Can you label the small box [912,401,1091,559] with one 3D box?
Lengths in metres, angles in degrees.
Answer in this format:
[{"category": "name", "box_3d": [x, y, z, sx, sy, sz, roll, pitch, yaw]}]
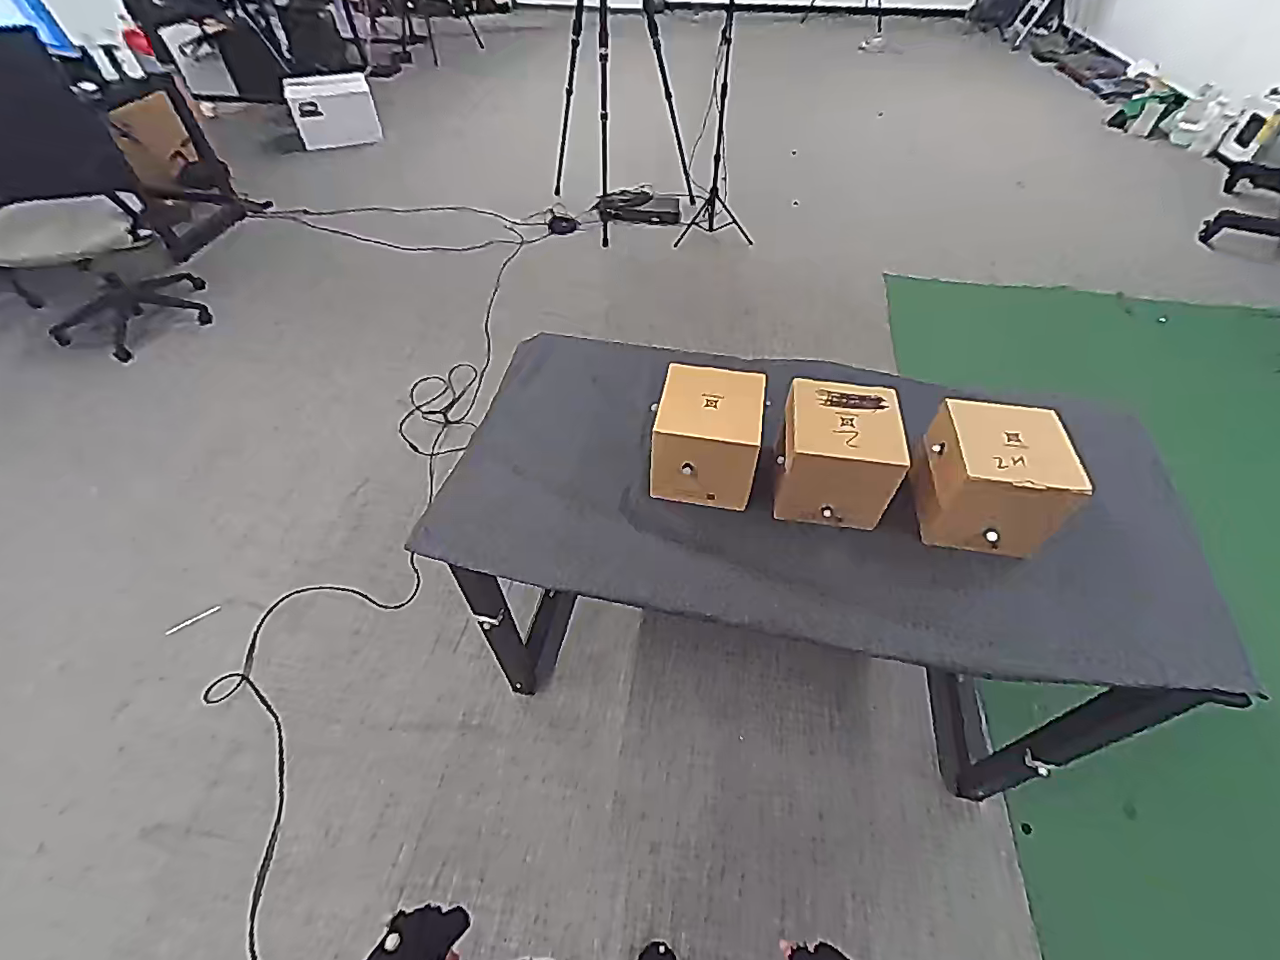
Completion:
[{"category": "small box", "box_3d": [0.558, 0.001, 0.868, 0.168, 0.176, 0.179, 7, 49, 8]}]
